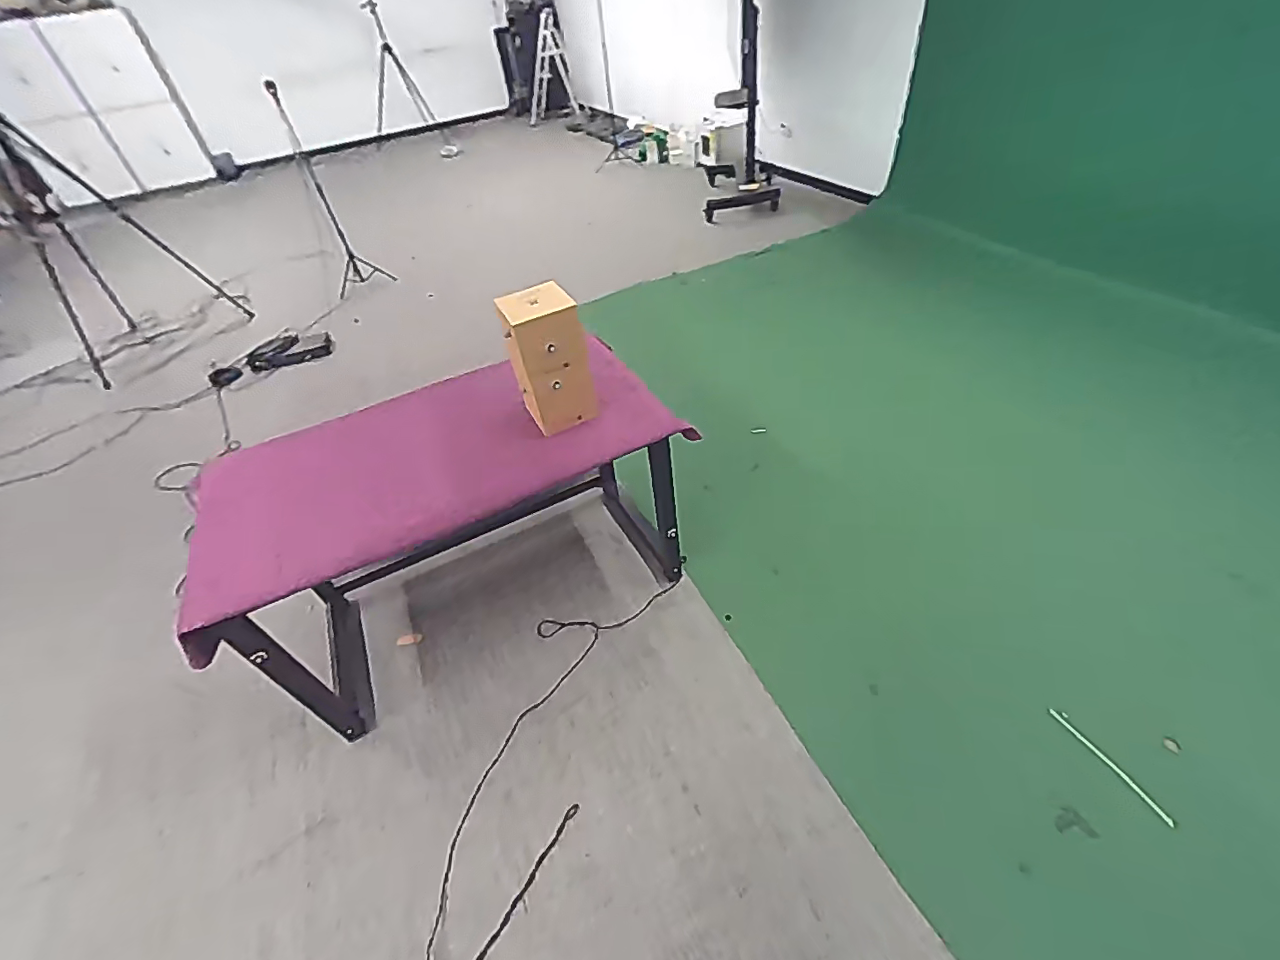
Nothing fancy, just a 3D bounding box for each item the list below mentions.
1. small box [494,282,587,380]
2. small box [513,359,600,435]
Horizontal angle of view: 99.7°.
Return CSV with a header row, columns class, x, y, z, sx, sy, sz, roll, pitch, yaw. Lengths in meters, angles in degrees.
class,x,y,z,sx,sy,sz,roll,pitch,yaw
small box,-0.248,-0.372,1.370,0.168,0.176,0.179,-23,44,-15
small box,-0.227,-0.253,1.482,0.168,0.176,0.179,-25,45,-15
